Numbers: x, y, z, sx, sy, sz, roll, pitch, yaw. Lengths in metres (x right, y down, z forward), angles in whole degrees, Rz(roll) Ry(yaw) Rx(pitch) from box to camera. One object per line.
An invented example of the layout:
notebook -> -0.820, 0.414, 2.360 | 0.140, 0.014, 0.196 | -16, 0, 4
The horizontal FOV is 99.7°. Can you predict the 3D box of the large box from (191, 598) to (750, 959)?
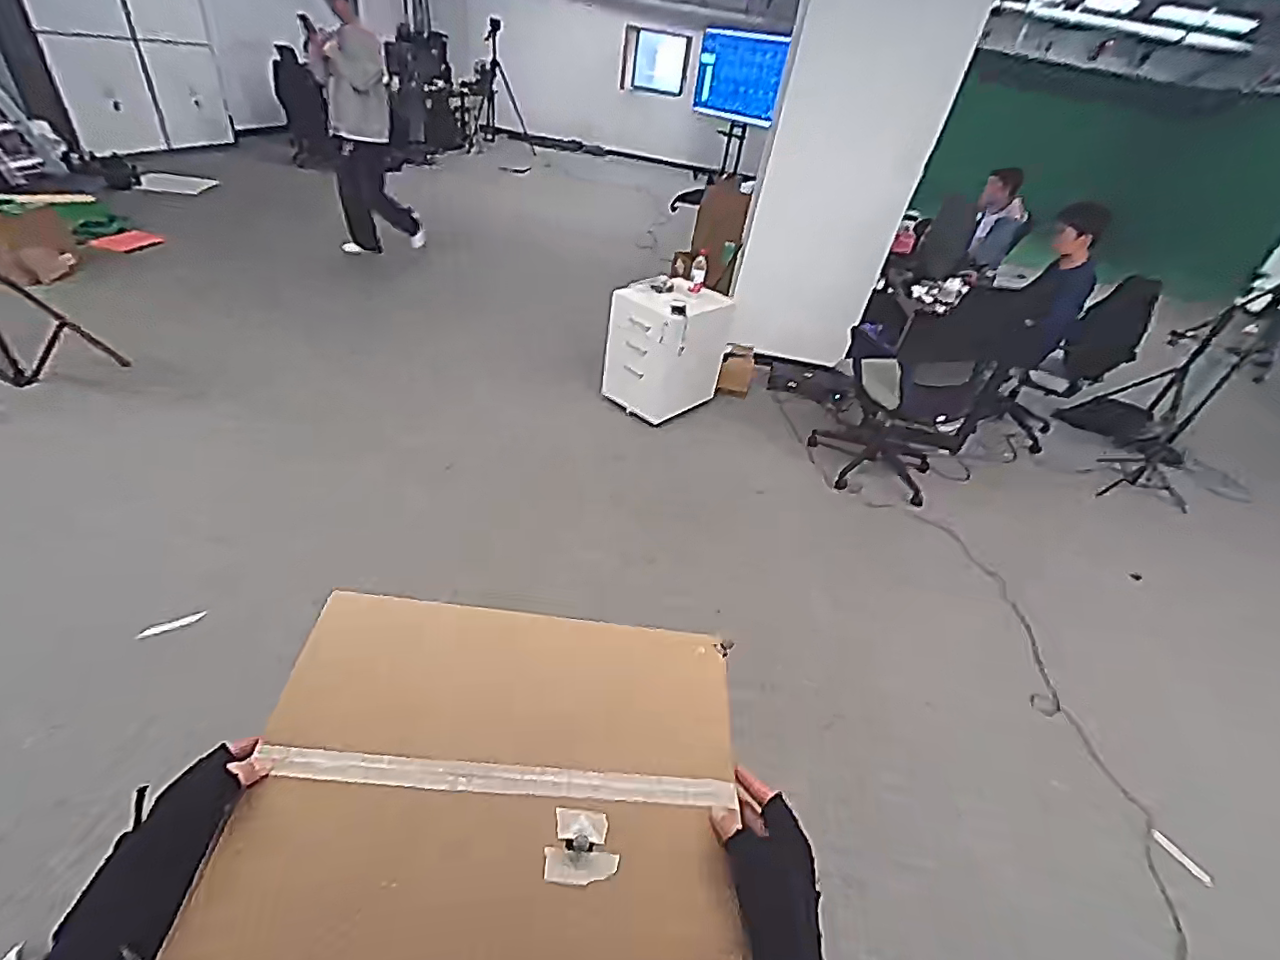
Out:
large box -> -0.139, 0.359, 0.582 | 0.408, 0.320, 0.320 | 9, 47, -8
